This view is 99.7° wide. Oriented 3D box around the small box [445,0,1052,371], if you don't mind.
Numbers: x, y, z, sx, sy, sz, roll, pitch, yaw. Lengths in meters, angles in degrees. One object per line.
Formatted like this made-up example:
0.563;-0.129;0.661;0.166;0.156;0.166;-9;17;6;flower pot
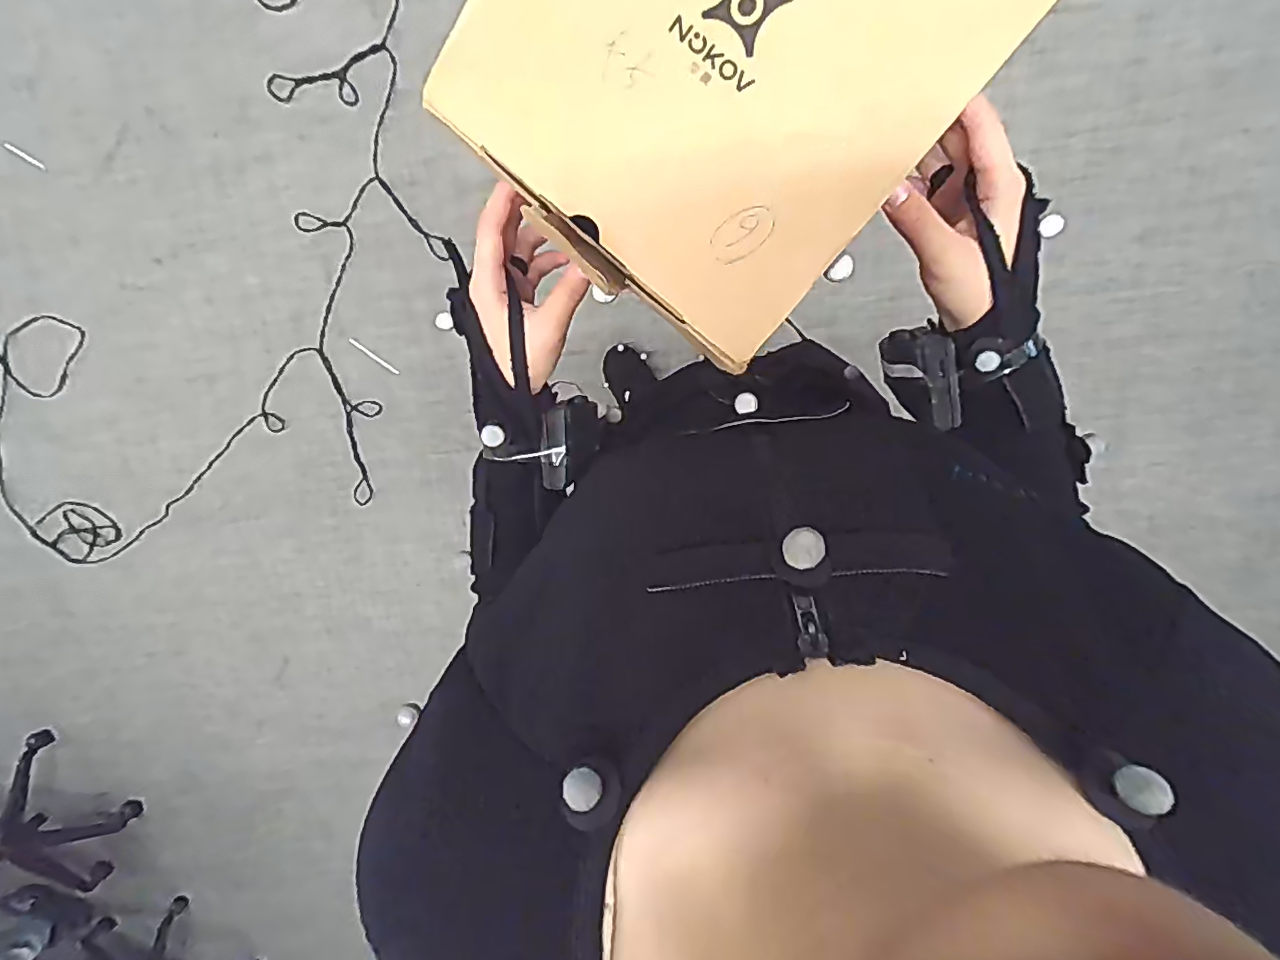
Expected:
0.043;-0.176;0.284;0.168;0.176;0.179;39;104;-3;small box
